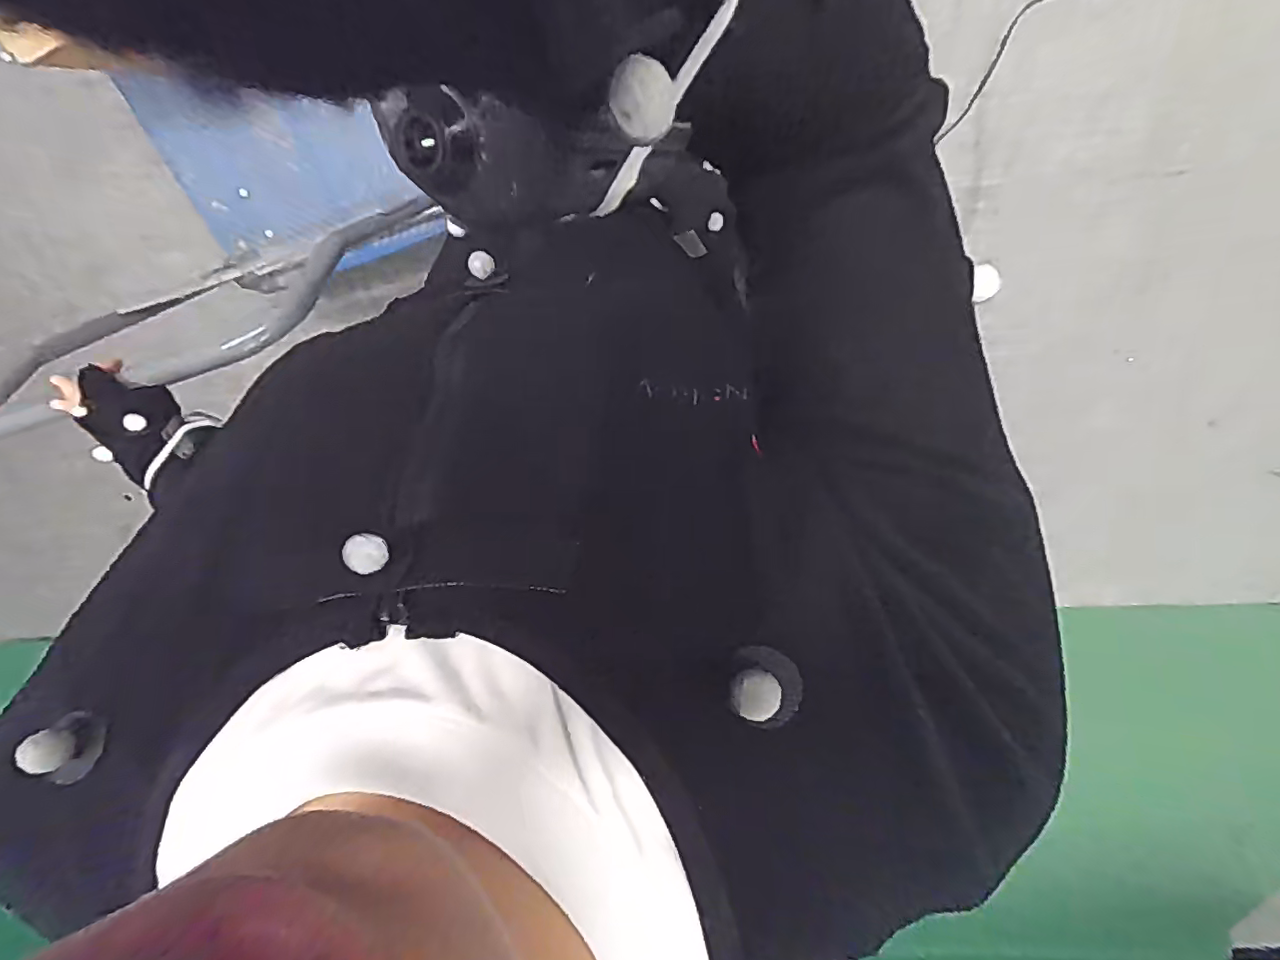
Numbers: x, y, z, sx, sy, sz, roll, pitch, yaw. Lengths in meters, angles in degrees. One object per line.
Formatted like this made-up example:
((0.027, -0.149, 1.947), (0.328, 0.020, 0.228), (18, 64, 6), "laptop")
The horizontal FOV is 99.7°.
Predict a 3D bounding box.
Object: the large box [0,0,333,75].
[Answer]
((-0.694, -0.835, 0.760), (0.408, 0.320, 0.320), (-14, 121, 13), "large box")
